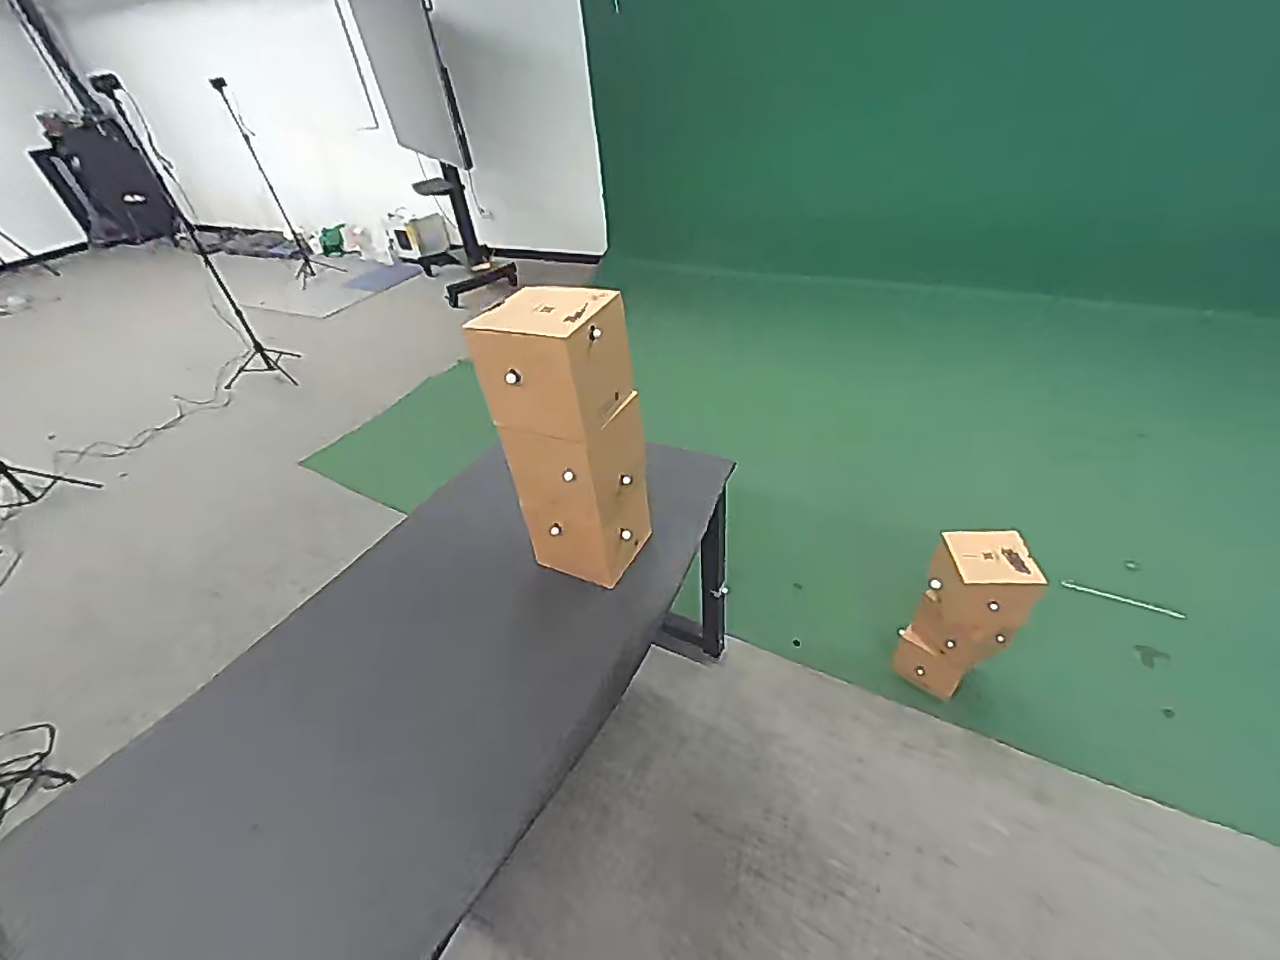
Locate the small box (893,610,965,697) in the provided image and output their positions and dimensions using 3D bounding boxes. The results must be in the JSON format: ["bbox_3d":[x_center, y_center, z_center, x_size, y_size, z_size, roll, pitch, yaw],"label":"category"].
[{"bbox_3d":[0.847,0.480,1.545,0.168,0.176,0.179,30,51,35],"label":"small box"}]

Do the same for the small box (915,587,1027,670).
[{"bbox_3d":[0.858,0.367,1.425,0.179,0.176,0.168,-19,43,-16],"label":"small box"}]

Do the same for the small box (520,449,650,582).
[{"bbox_3d":[-0.093,0.069,1.024,0.179,0.176,0.168,14,44,25],"label":"small box"}]

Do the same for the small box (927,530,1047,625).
[{"bbox_3d":[0.836,0.239,1.323,0.179,0.176,0.168,-1,41,8],"label":"small box"}]

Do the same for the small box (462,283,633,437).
[{"bbox_3d":[-0.128,-0.182,0.815,0.179,0.176,0.168,11,43,23],"label":"small box"}]
